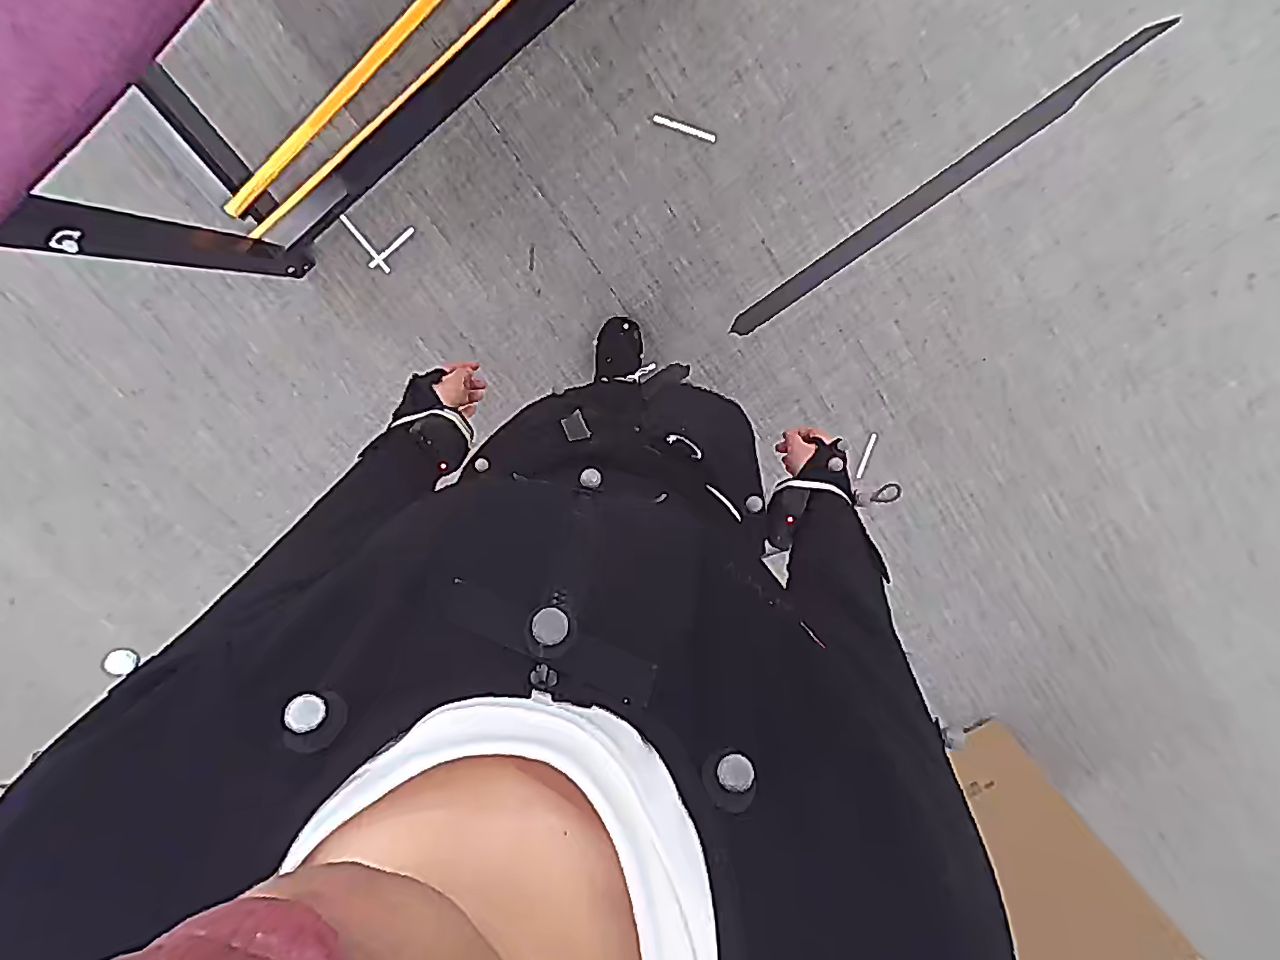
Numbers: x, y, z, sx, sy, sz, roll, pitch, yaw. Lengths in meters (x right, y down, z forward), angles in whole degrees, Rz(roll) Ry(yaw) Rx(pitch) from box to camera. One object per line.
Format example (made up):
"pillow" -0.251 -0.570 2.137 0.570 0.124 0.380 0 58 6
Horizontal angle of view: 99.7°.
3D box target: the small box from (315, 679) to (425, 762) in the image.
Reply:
"small box" -0.729 0.688 1.482 0.179 0.176 0.168 -35 103 8

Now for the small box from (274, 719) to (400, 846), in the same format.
"small box" -0.729 0.733 1.323 0.179 0.176 0.168 -37 104 9
